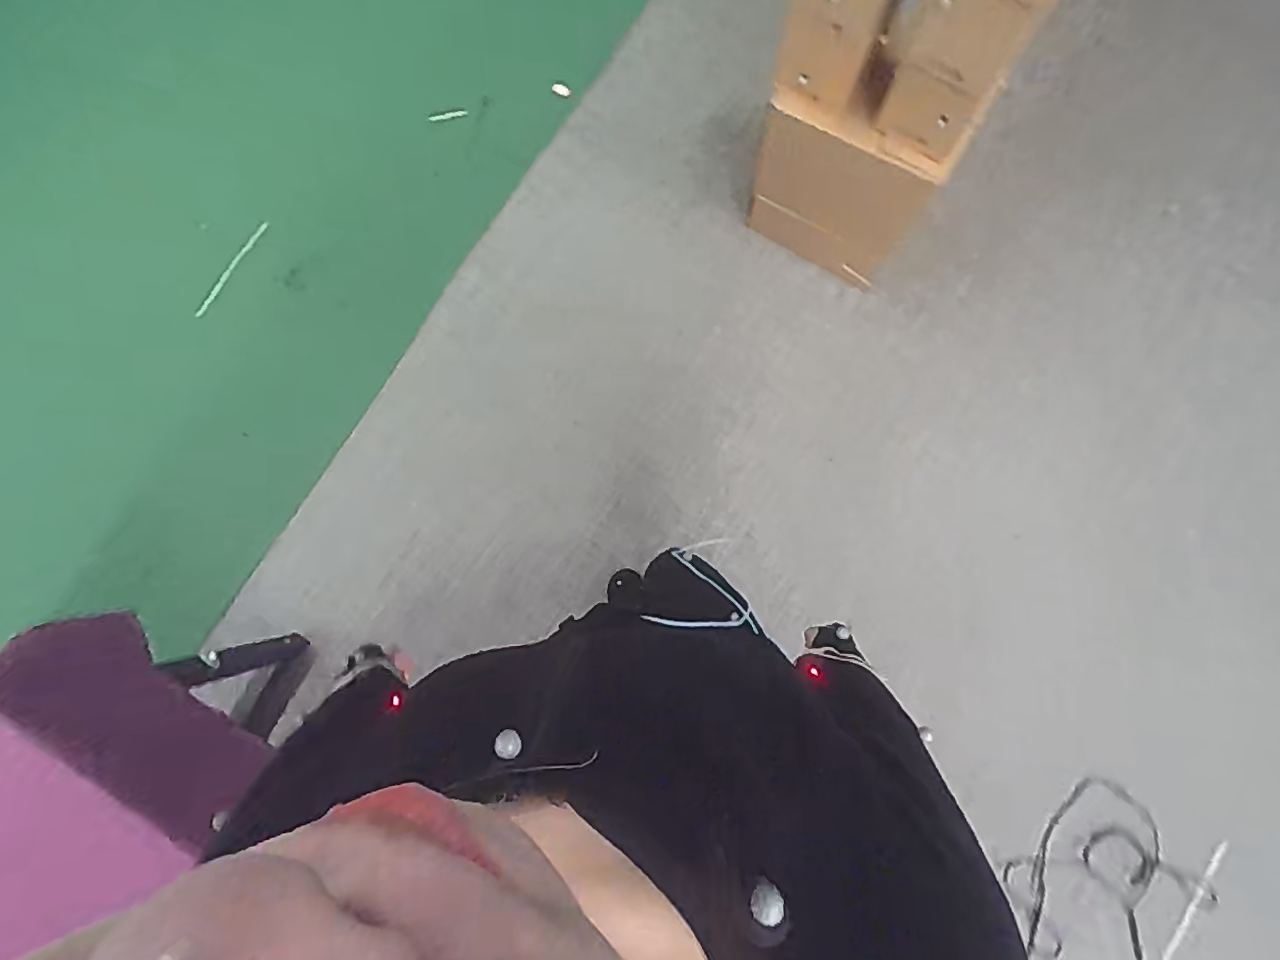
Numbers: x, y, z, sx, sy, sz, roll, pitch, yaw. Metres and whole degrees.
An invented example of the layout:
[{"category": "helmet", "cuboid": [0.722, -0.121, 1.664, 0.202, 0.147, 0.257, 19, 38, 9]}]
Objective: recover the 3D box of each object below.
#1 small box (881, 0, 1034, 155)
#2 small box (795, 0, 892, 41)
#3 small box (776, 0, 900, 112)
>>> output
[{"category": "small box", "cuboid": [0.599, -0.785, 1.050, 0.168, 0.176, 0.179, 35, 86, 8]}, {"category": "small box", "cuboid": [0.378, -0.912, 0.918, 0.168, 0.176, 0.179, 33, 88, 6]}, {"category": "small box", "cuboid": [0.392, -0.899, 1.081, 0.168, 0.176, 0.179, 32, 87, 6]}]
